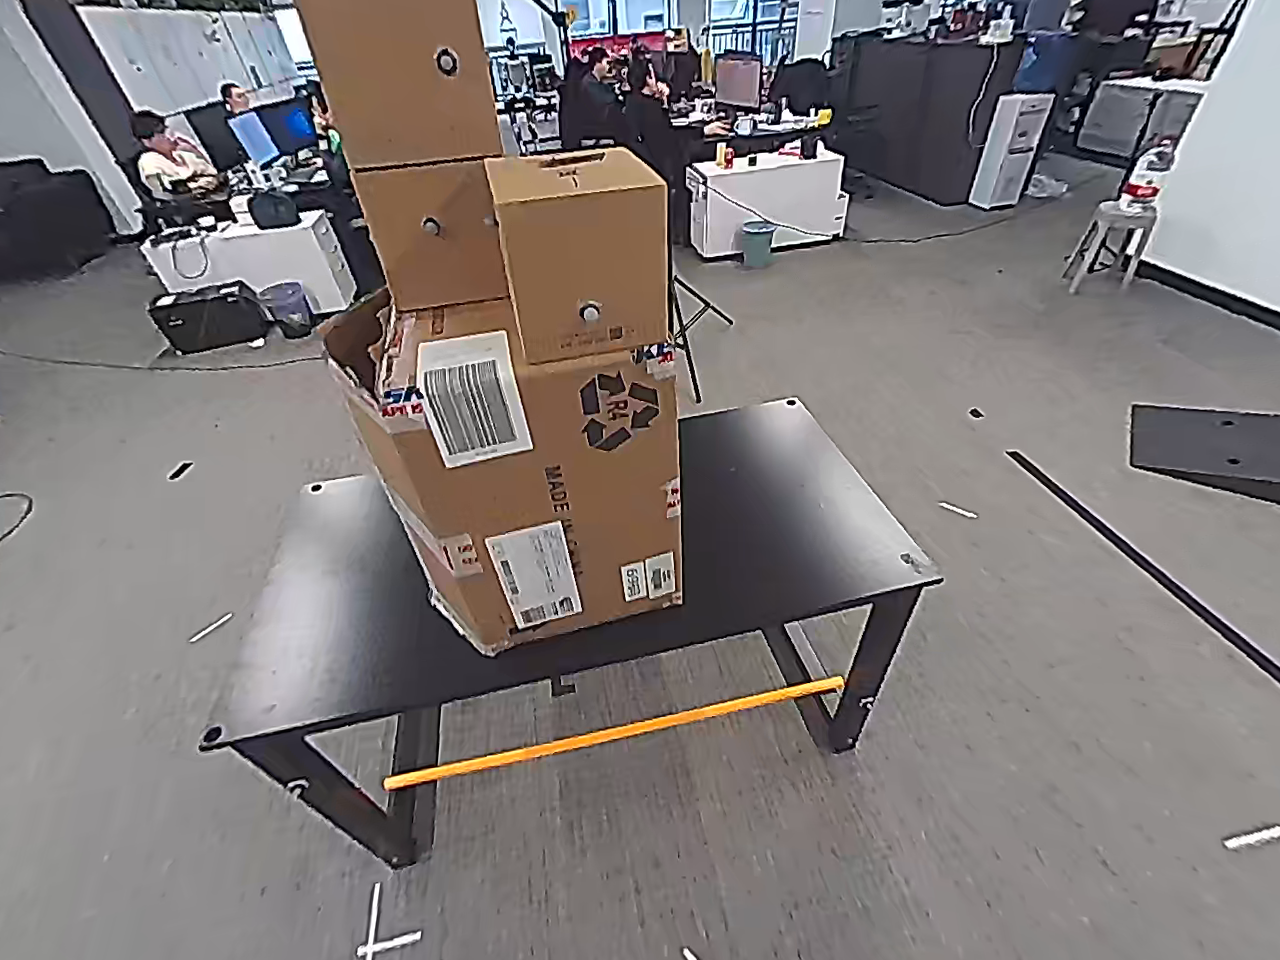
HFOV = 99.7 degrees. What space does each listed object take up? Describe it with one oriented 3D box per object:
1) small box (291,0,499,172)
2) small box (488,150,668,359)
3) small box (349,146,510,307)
[{"bbox_3d":[-0.269,-0.472,0.629,0.179,0.176,0.168,-14,39,-11],"label":"small box"},{"bbox_3d":[-0.071,-0.259,0.616,0.168,0.176,0.179,-12,43,-10],"label":"small box"},{"bbox_3d":[-0.261,-0.348,0.735,0.179,0.176,0.168,-13,40,-10],"label":"small box"}]
